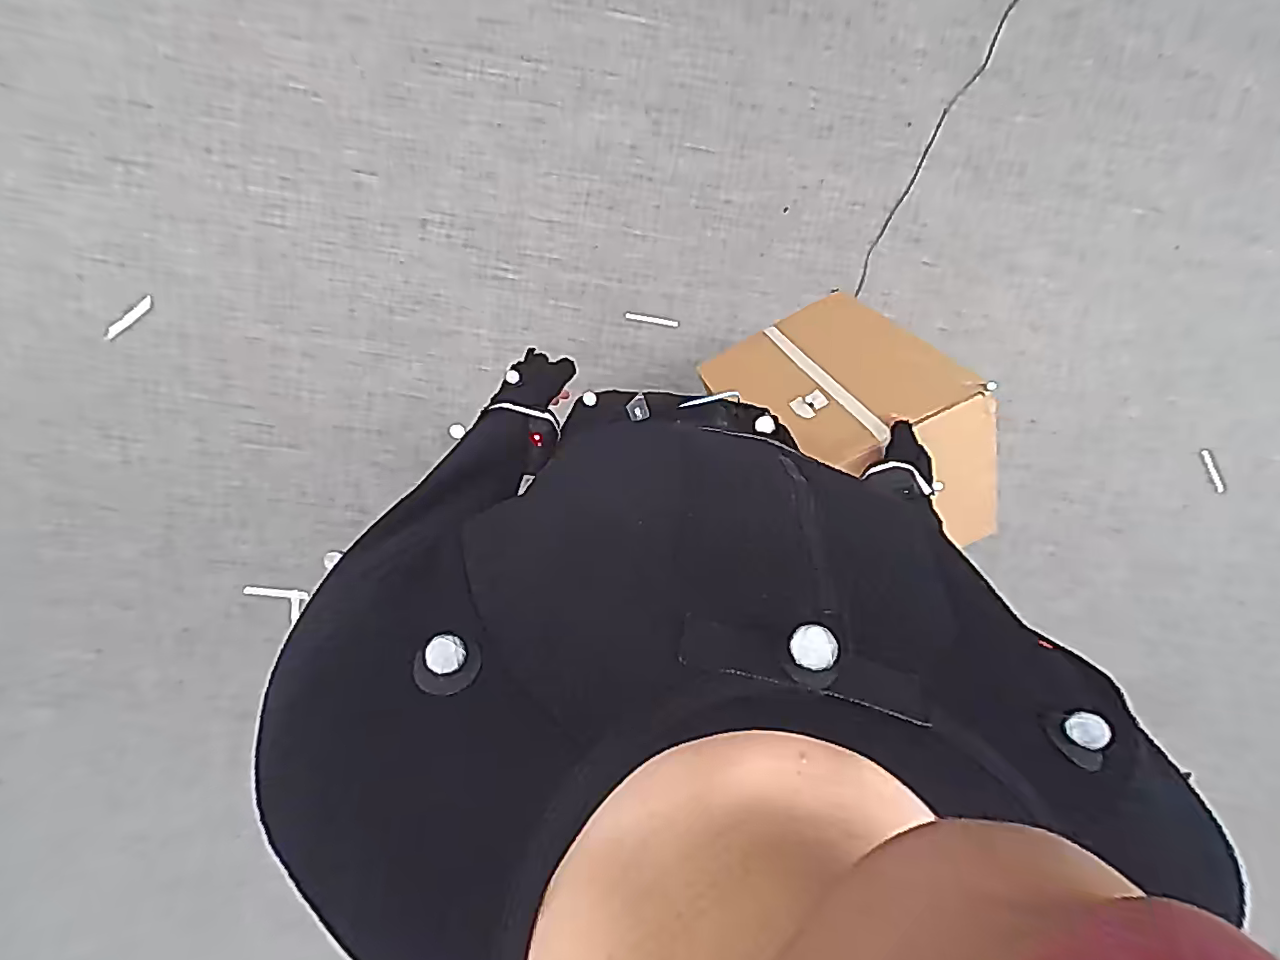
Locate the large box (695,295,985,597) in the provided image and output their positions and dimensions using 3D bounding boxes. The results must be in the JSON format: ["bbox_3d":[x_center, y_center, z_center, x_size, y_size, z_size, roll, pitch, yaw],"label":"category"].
[{"bbox_3d":[0.345,-0.072,0.989,0.320,0.408,0.320,-27,130,6],"label":"large box"}]
